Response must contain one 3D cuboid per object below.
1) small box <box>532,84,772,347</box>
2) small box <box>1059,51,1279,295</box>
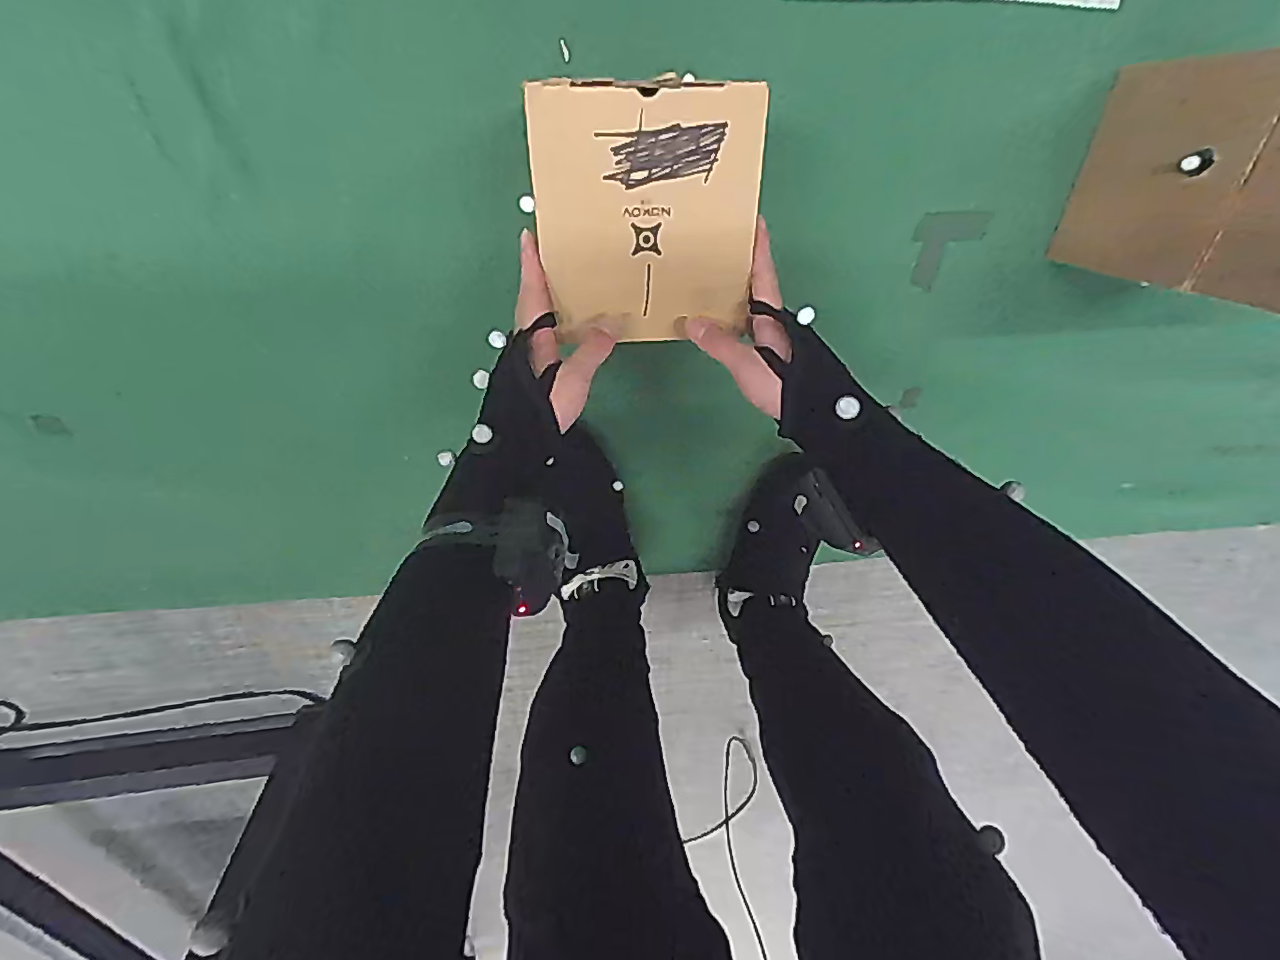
[{"bbox_3d":[0.001,-0.228,0.468,0.168,0.176,0.179,-3,123,-4],"label":"small box"},{"bbox_3d":[0.546,-0.279,0.498,0.168,0.176,0.179,-2,122,-6],"label":"small box"}]
